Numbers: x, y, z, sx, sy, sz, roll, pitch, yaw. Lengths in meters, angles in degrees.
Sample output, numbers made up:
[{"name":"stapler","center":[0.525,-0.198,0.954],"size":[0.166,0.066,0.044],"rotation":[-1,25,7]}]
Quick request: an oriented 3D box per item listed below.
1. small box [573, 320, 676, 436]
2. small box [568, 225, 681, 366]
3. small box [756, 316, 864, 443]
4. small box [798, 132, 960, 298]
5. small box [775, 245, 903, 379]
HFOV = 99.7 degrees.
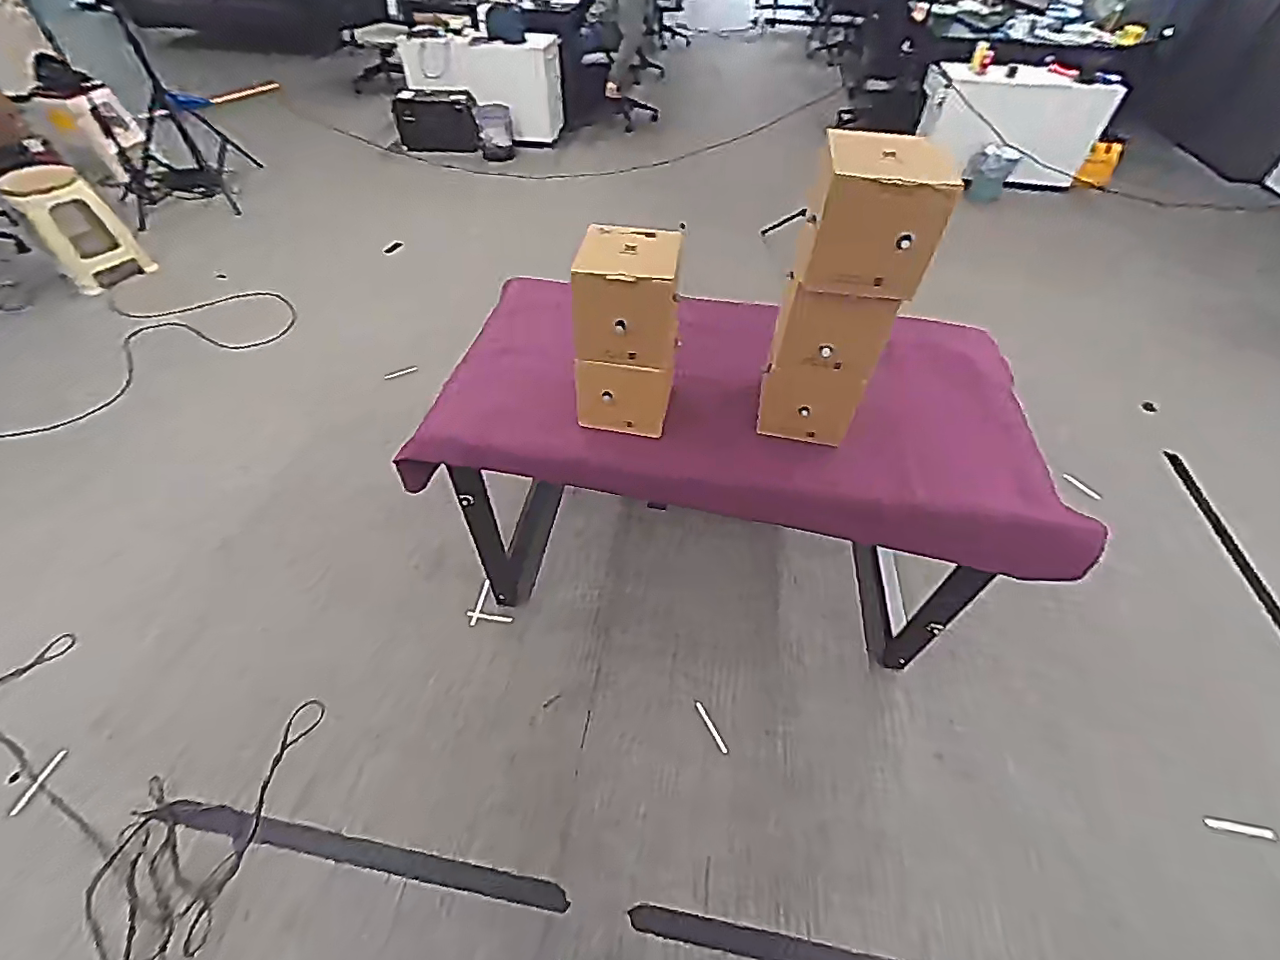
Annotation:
[{"name":"small box","center":[-0.026,-0.208,1.069],"size":[0.168,0.176,0.179],"rotation":[9,49,5]},{"name":"small box","center":[-0.022,-0.321,0.950],"size":[0.168,0.176,0.179],"rotation":[7,49,4]},{"name":"small box","center":[0.330,-0.196,1.069],"size":[0.168,0.176,0.179],"rotation":[11,50,6]},{"name":"small box","center":[0.340,-0.393,0.809],"size":[0.168,0.176,0.179],"rotation":[8,49,4]},{"name":"small box","center":[0.338,-0.305,0.946],"size":[0.168,0.176,0.179],"rotation":[10,50,7]}]
